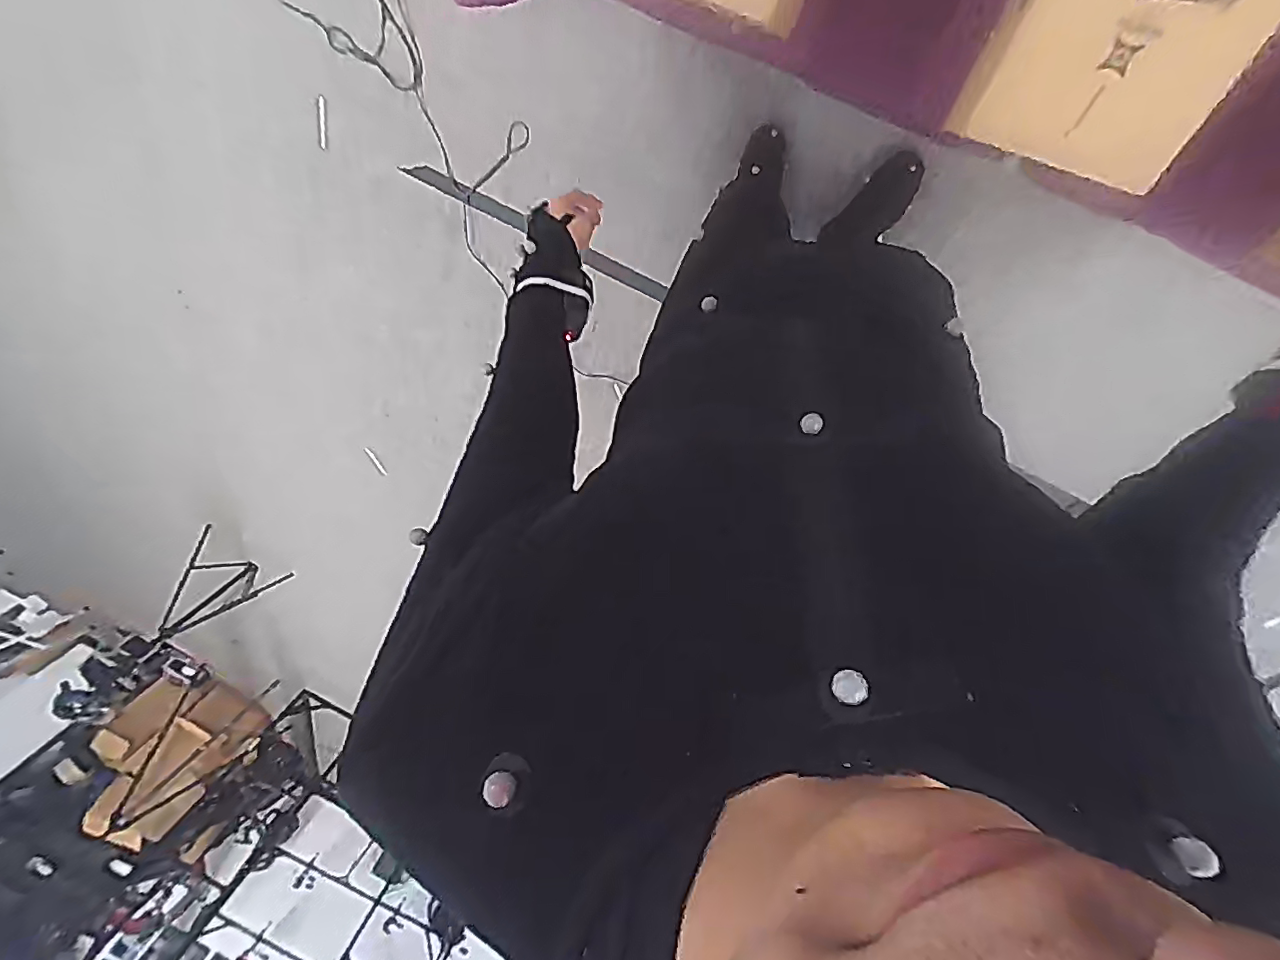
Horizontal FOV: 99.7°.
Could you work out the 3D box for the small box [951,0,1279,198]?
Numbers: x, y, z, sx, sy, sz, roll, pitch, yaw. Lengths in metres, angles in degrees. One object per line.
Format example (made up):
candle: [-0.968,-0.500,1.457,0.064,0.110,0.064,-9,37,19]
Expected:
small box: [0.409,-0.385,0.486,0.168,0.176,0.179,24,130,6]
